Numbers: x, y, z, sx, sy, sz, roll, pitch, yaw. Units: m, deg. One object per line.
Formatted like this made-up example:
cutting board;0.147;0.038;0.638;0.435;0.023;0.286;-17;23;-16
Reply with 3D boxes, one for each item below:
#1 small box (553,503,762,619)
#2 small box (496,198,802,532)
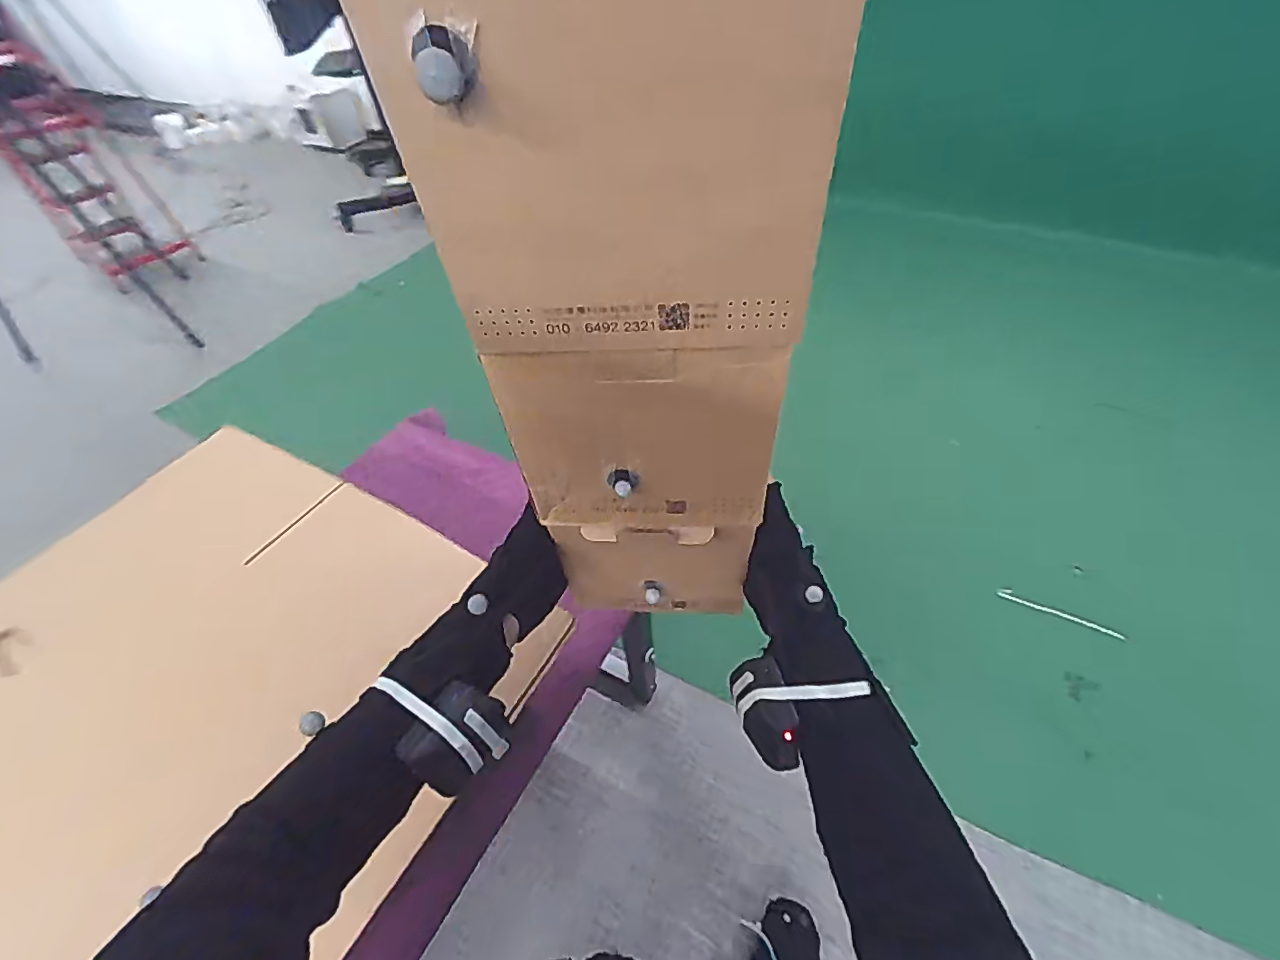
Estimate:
small box;0.026;0.015;0.527;0.168;0.176;0.179;2;52;7
small box;0.013;-0.081;0.396;0.168;0.176;0.179;0;52;5
